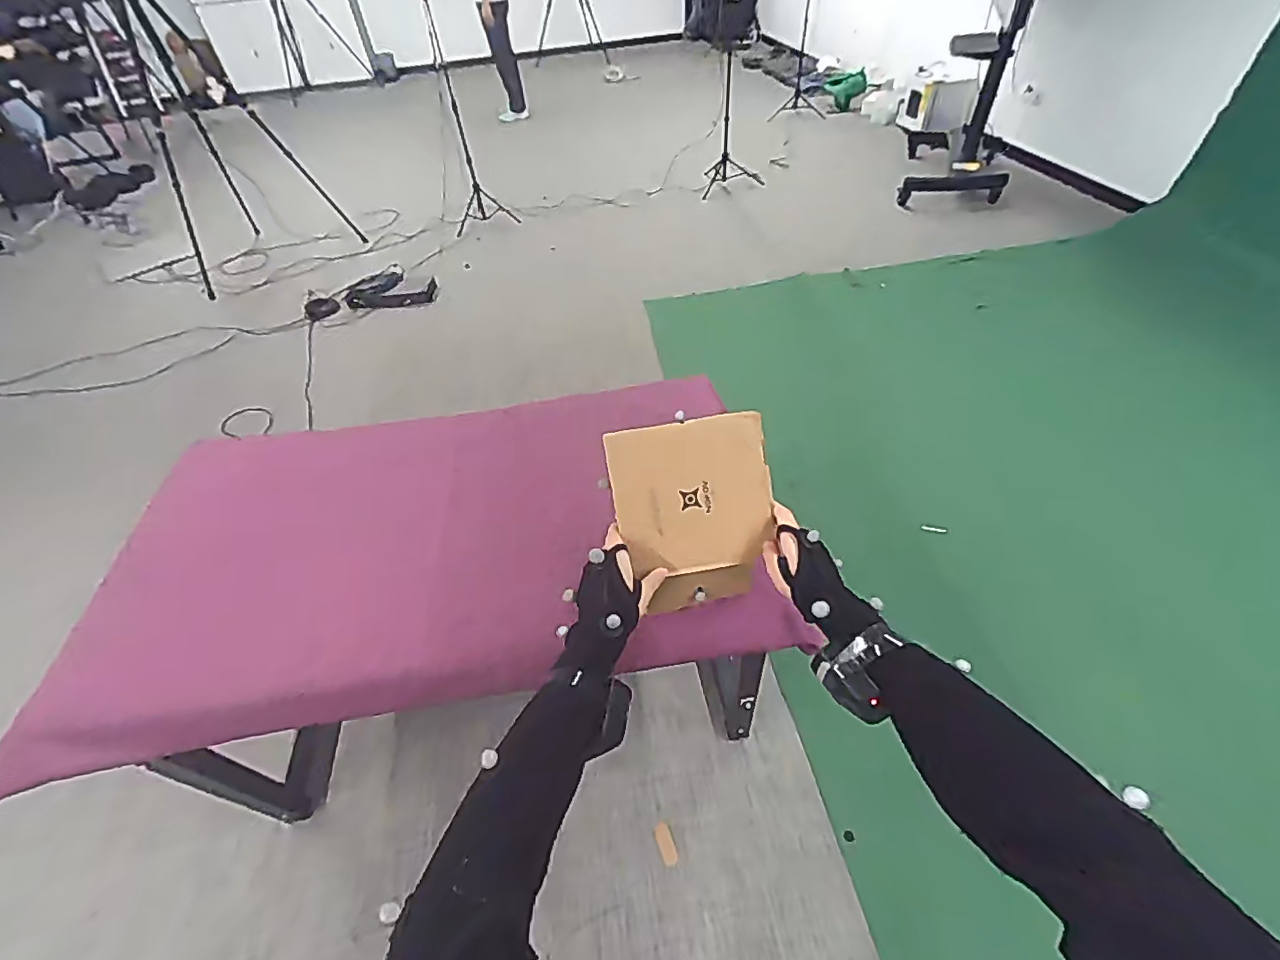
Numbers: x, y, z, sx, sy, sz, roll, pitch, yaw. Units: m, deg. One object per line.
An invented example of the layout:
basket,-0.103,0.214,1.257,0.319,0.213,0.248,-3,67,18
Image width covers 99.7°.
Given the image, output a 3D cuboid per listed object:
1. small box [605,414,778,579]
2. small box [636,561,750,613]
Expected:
small box,0.053,0.010,0.670,0.179,0.168,0.176,-9,5,-2
small box,0.070,0.088,0.867,0.179,0.176,0.168,-13,47,-6
